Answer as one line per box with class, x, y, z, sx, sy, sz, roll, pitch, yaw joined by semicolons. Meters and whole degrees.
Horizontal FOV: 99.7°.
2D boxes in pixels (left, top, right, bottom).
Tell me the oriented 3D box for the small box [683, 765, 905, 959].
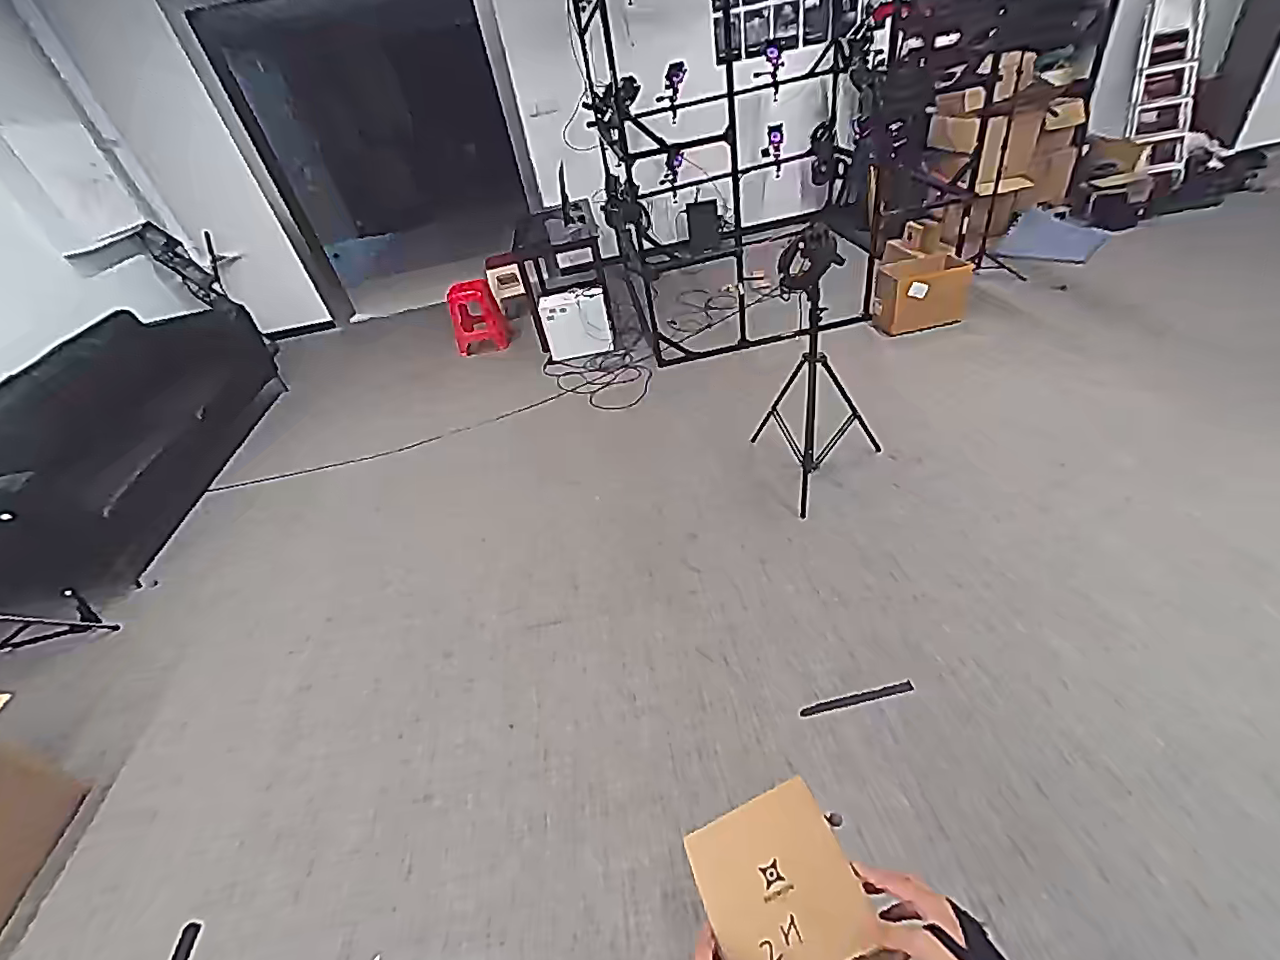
small box;0.174;0.481;0.624;0.168;0.176;0.179;-29;32;0
